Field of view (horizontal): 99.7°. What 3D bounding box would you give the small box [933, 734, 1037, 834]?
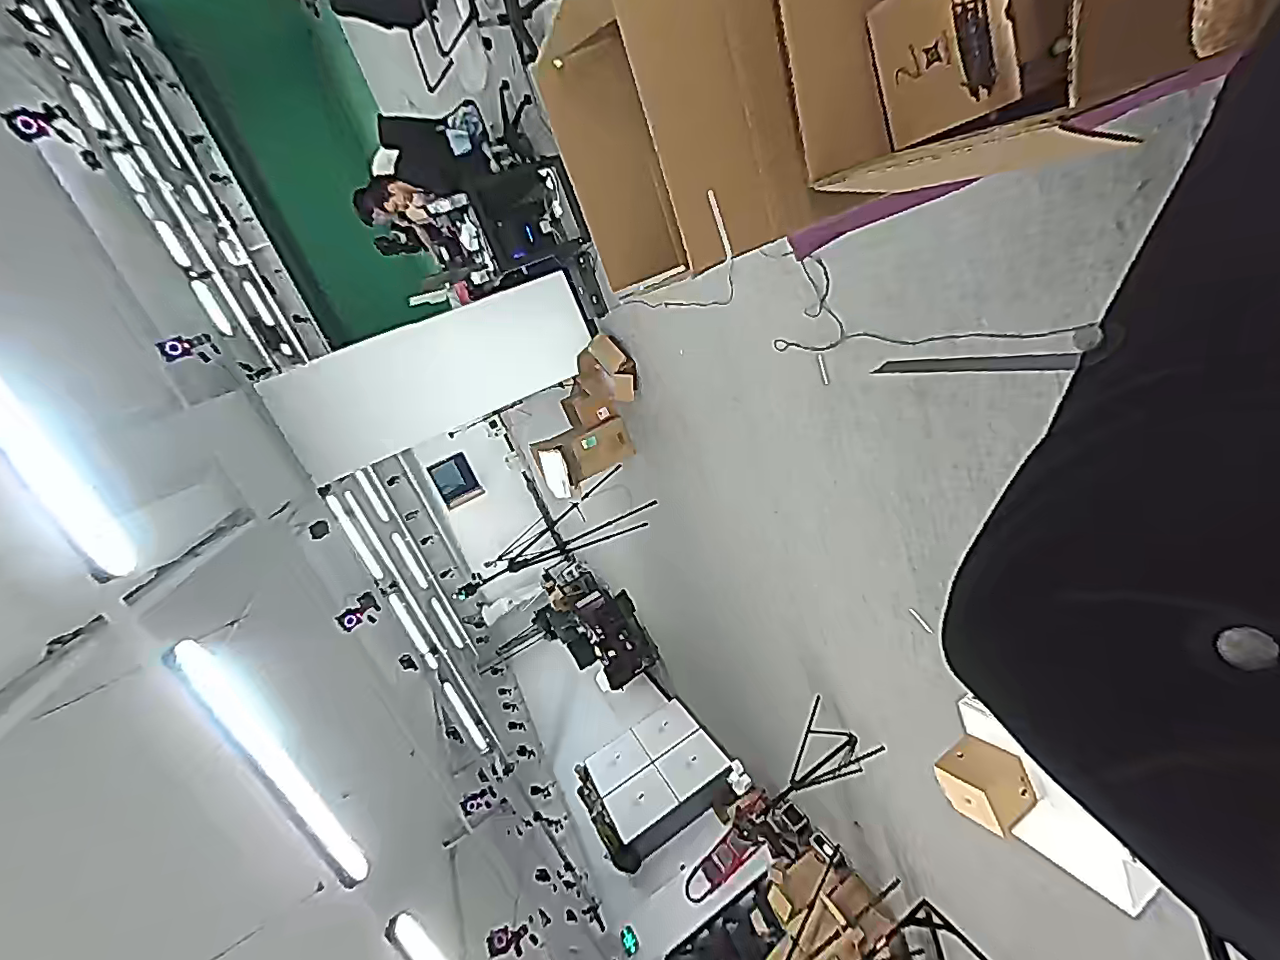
[{"bbox_3d":[1.041,0.904,1.632,0.168,0.176,0.179,63,162,-7],"label":"small box"}]
